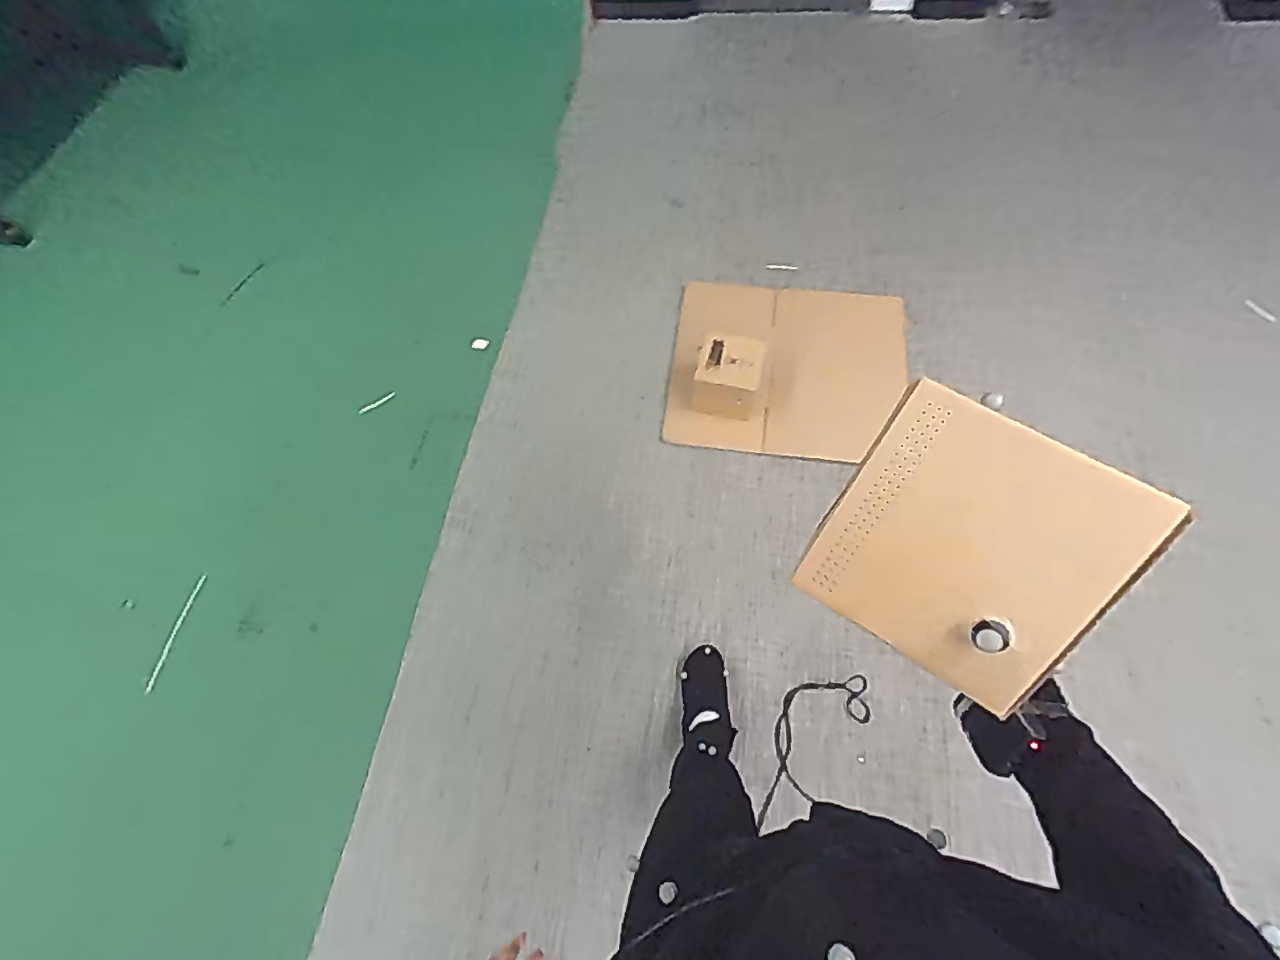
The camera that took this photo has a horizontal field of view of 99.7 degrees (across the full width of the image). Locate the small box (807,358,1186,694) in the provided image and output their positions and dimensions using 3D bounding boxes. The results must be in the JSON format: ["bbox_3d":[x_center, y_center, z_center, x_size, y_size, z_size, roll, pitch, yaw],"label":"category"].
[{"bbox_3d":[0.250,0.024,0.437,0.176,0.168,0.179,33,109,17],"label":"small box"}]
